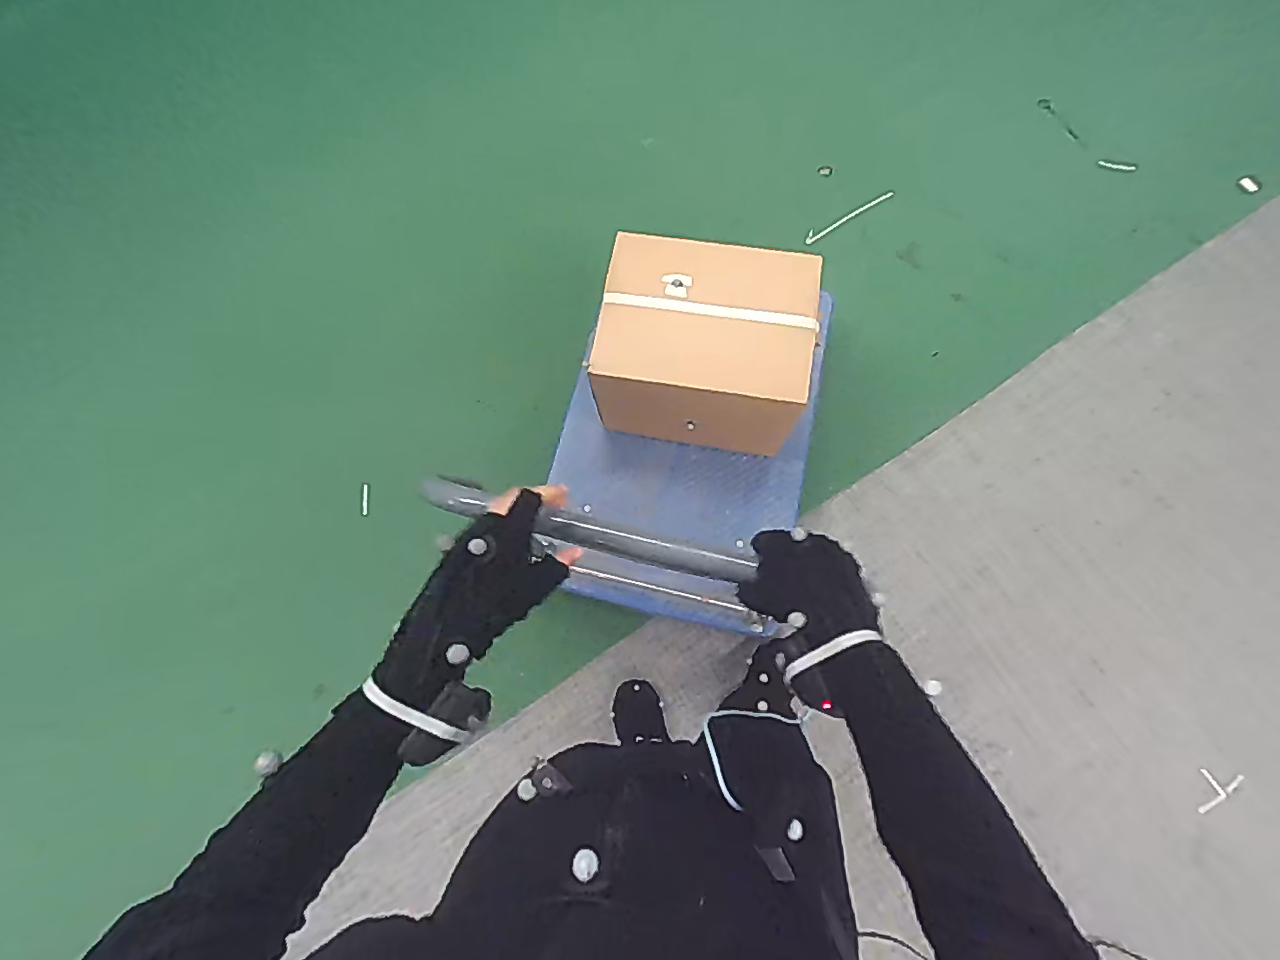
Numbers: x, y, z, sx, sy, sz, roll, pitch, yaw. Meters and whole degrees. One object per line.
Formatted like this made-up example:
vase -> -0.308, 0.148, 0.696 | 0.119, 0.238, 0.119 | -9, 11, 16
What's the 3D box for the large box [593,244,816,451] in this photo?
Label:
large box -> 0.139, -0.269, 1.173 | 0.408, 0.320, 0.320 | 8, 74, 6
